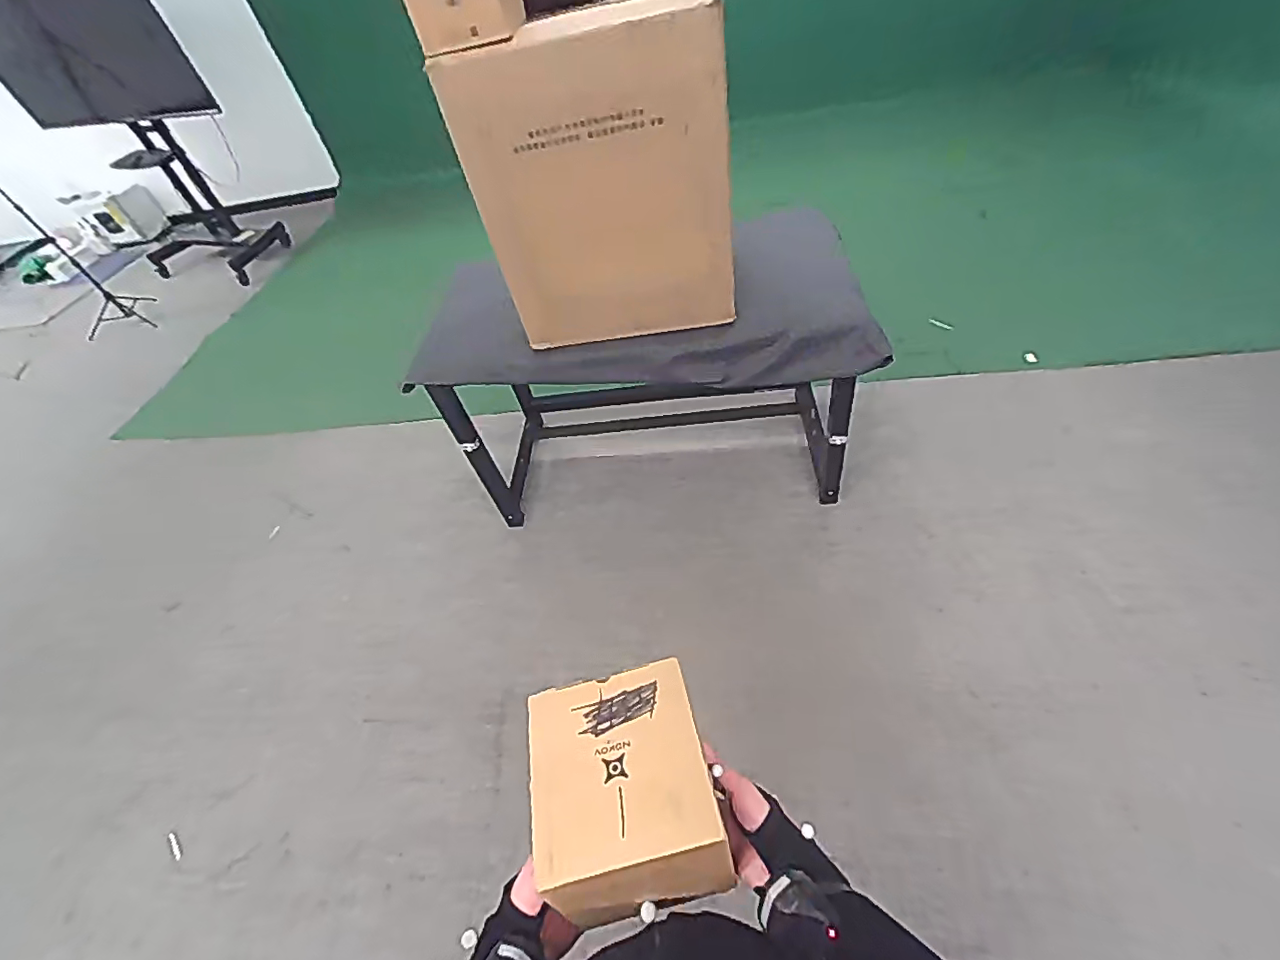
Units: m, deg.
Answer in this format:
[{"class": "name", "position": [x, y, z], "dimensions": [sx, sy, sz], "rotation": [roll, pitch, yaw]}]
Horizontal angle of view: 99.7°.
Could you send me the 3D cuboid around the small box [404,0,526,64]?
[{"class": "small box", "position": [-0.319, -0.879, 0.973], "dimensions": [0.168, 0.176, 0.179], "rotation": [-5, 49, 9]}]
